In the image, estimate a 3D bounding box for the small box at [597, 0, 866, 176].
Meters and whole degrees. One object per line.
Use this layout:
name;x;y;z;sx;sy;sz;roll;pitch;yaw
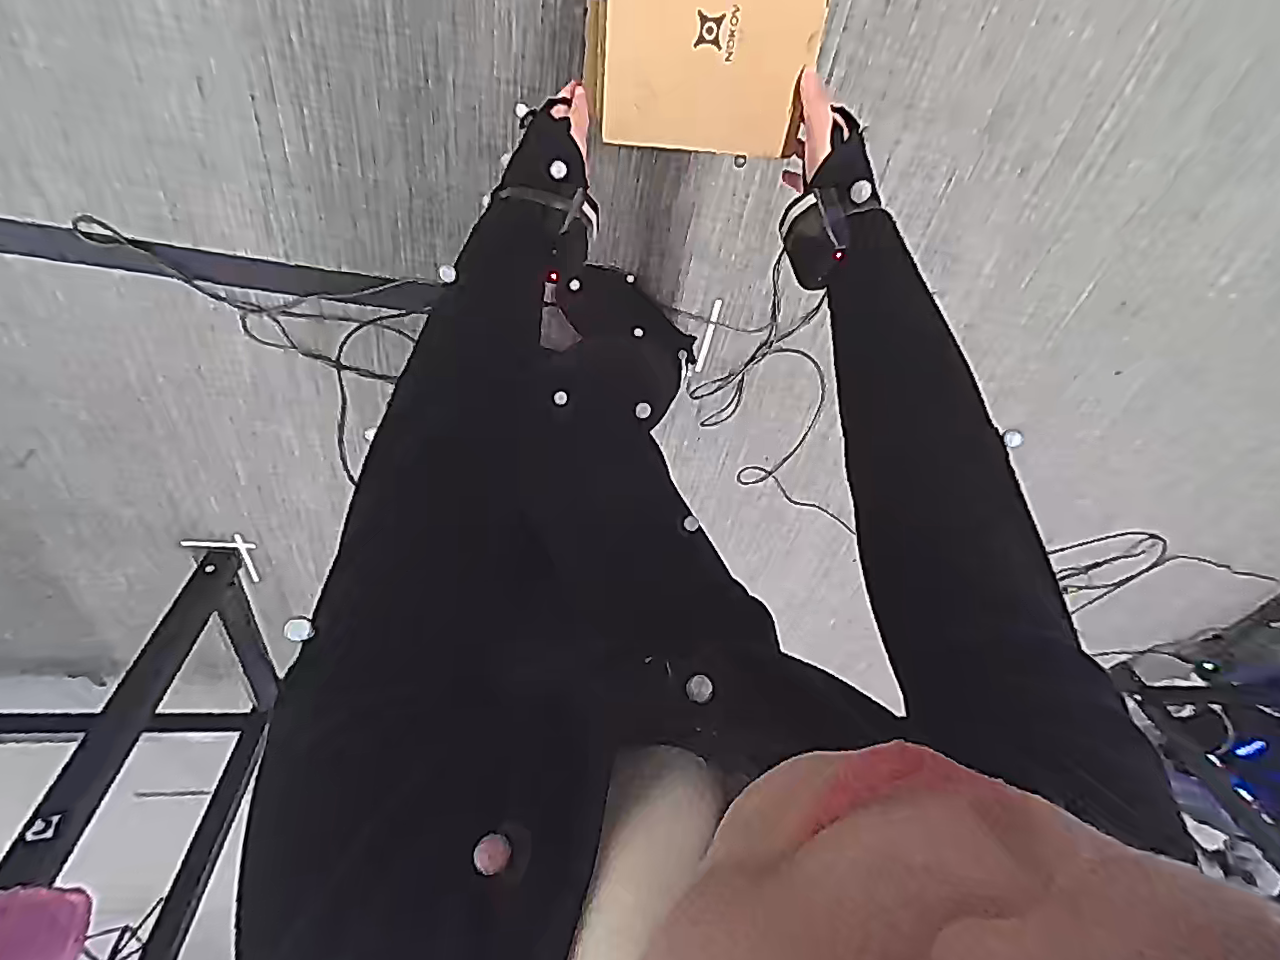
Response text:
small box;0.072;-0.371;0.461;0.168;0.176;0.179;-13;115;-22
